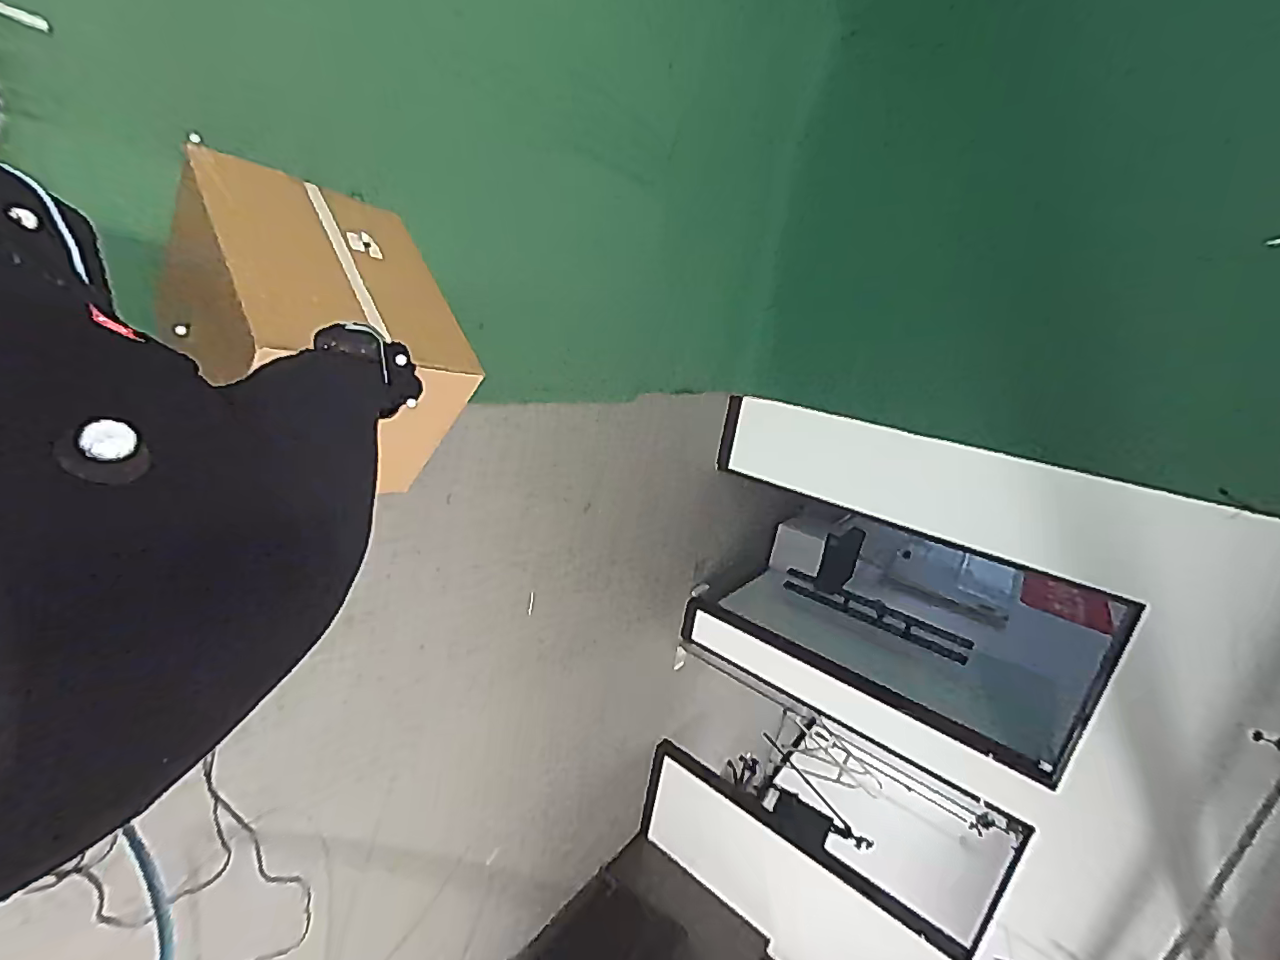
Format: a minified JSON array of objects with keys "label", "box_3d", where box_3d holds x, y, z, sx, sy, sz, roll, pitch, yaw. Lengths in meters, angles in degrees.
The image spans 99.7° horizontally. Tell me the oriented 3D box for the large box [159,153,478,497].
[{"label":"large box","box_3d":[-0.540,-0.227,0.893,0.320,0.408,0.320,-4,145,-52]}]
